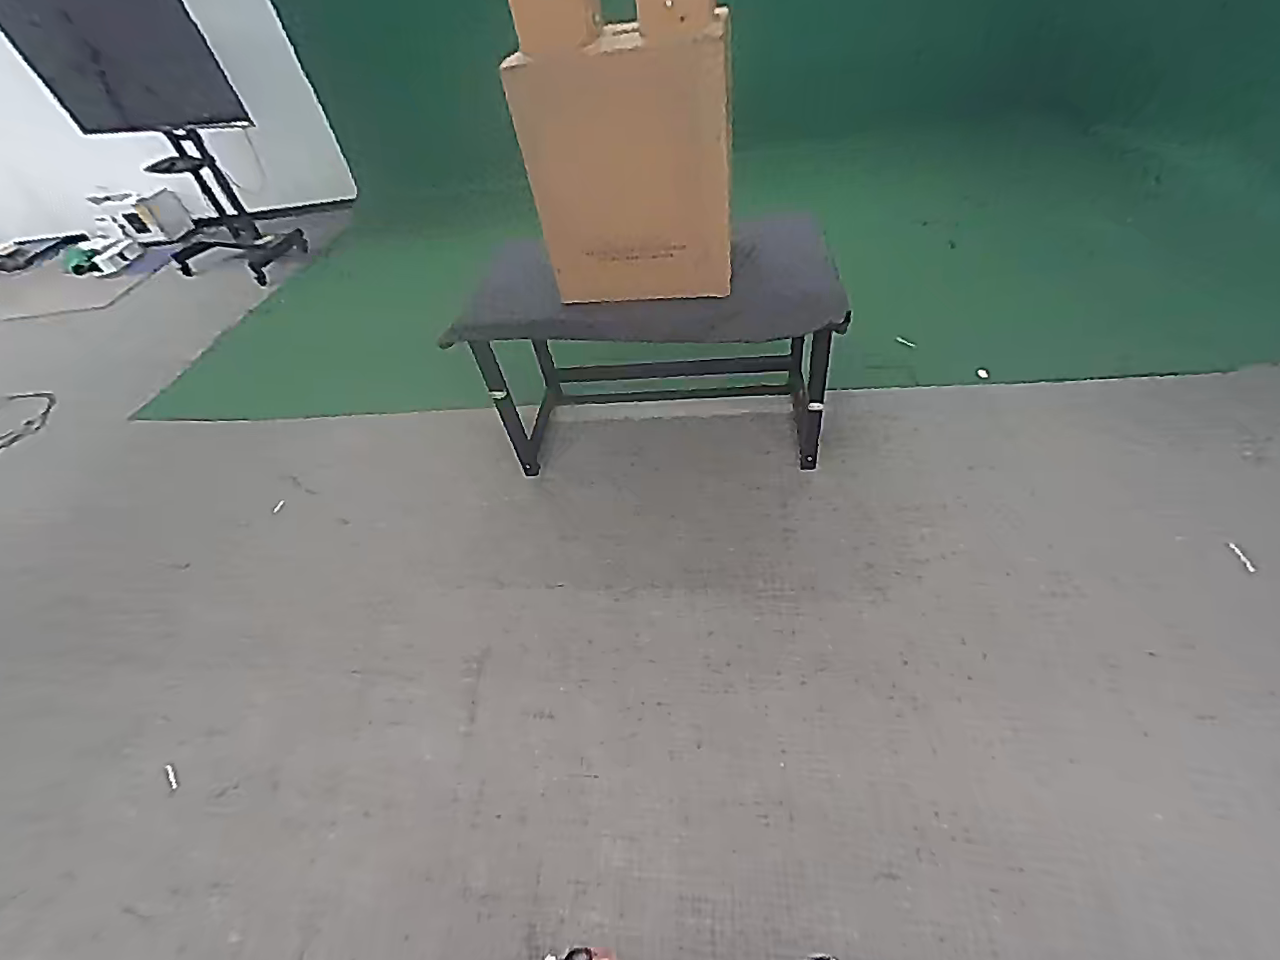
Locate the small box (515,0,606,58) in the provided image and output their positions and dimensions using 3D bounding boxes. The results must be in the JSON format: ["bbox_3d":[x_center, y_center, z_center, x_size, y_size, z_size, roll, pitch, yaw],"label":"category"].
[{"bbox_3d":[-0.194,-1.140,1.298,0.179,0.176,0.168,3,51,12],"label":"small box"}]

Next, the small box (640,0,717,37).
[{"bbox_3d":[0.089,-1.145,1.244,0.168,0.176,0.179,3,50,11],"label":"small box"}]
